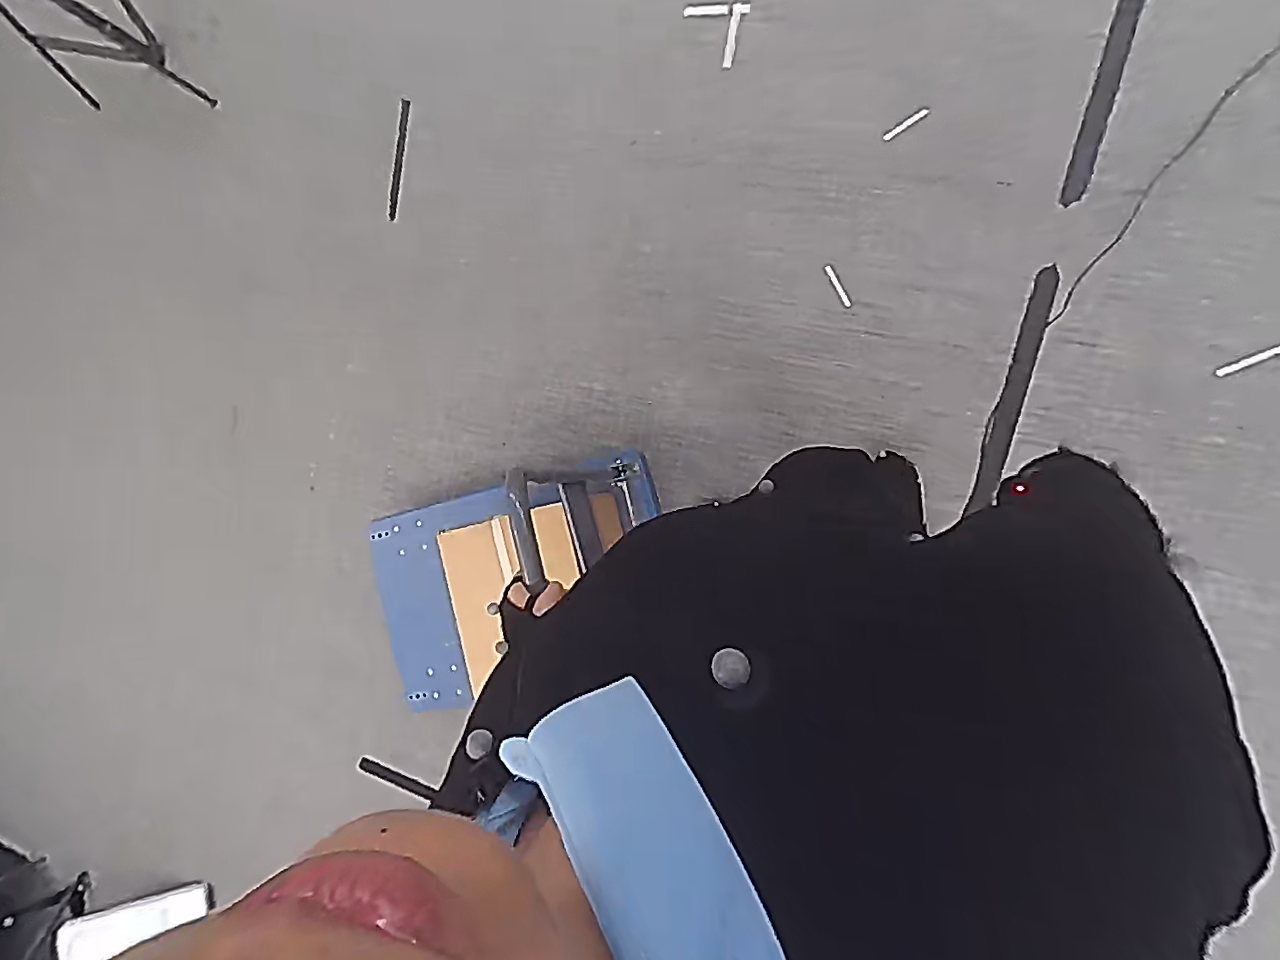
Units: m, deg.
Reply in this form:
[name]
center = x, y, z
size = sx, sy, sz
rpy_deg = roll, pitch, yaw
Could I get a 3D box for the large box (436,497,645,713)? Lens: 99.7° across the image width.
[large box]
center = -0.215, 0.273, 1.273
size = 0.320, 0.320, 0.408
rpy_deg = -14, 88, 16
